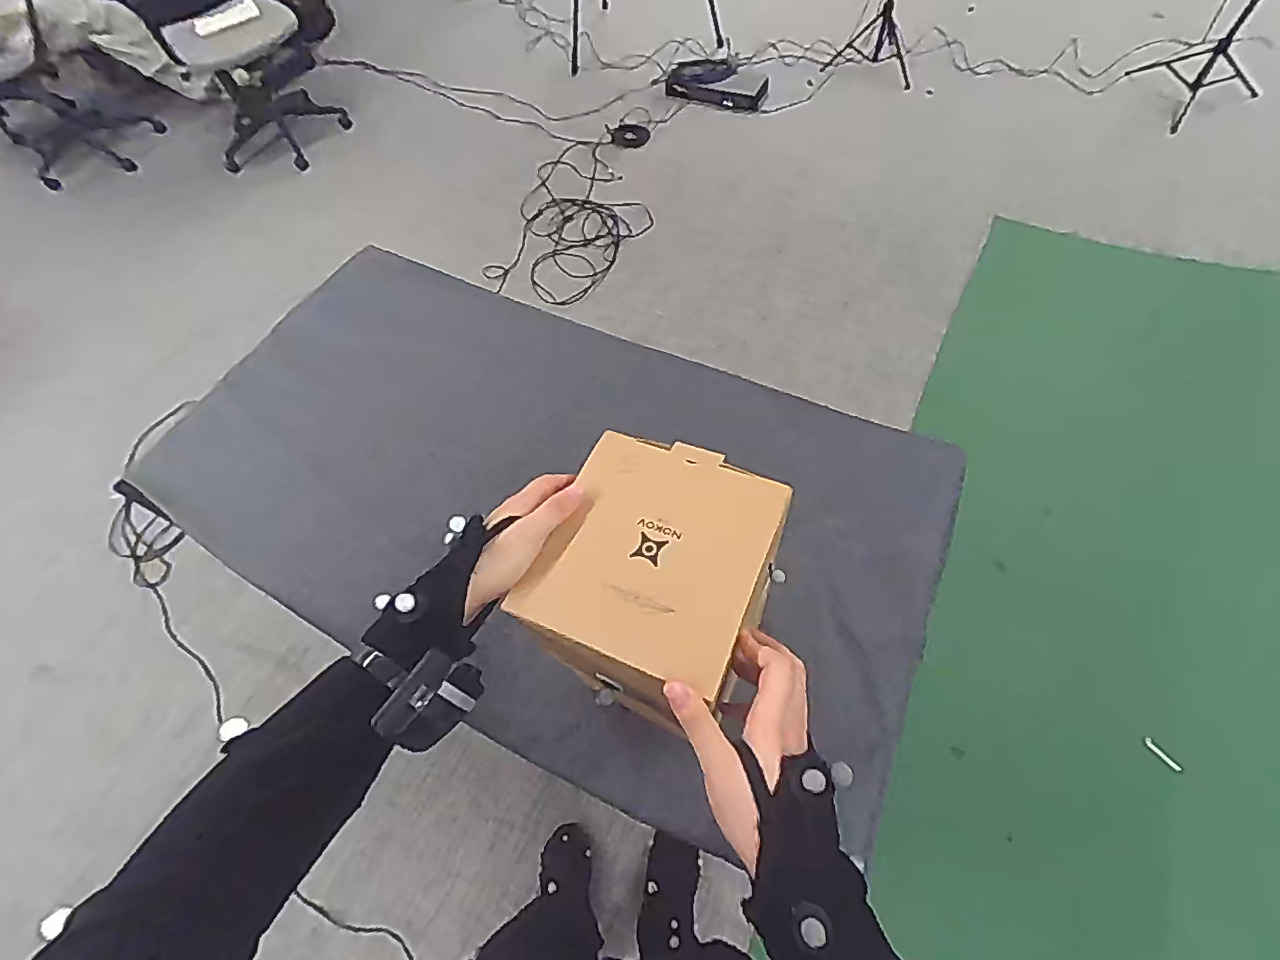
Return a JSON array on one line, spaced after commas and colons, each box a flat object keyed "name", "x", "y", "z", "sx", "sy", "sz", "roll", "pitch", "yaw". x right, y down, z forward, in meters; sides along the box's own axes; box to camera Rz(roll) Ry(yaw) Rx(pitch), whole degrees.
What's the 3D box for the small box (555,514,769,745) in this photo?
[{"name": "small box", "x": 0.033, "y": 0.174, "z": 0.611, "sx": 0.168, "sy": 0.176, "sz": 0.179, "roll": 21, "pitch": 62, "yaw": 18}]
